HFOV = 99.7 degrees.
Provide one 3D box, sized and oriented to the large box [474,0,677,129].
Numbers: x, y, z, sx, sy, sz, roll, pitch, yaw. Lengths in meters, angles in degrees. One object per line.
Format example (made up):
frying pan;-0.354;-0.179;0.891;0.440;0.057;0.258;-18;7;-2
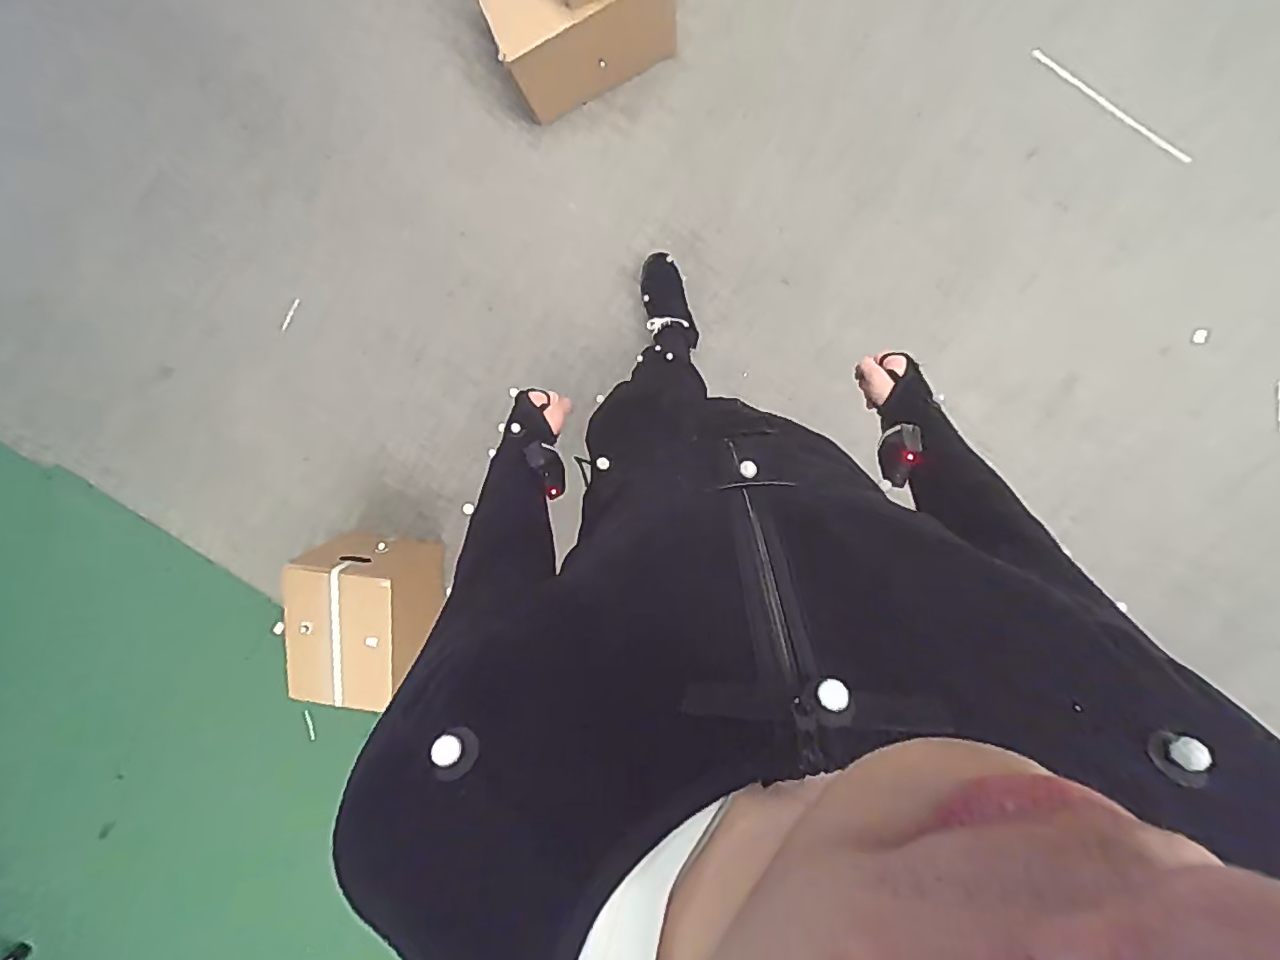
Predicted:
large box;-0.158;-1.129;1.265;0.408;0.320;0.320;-24;97;10
